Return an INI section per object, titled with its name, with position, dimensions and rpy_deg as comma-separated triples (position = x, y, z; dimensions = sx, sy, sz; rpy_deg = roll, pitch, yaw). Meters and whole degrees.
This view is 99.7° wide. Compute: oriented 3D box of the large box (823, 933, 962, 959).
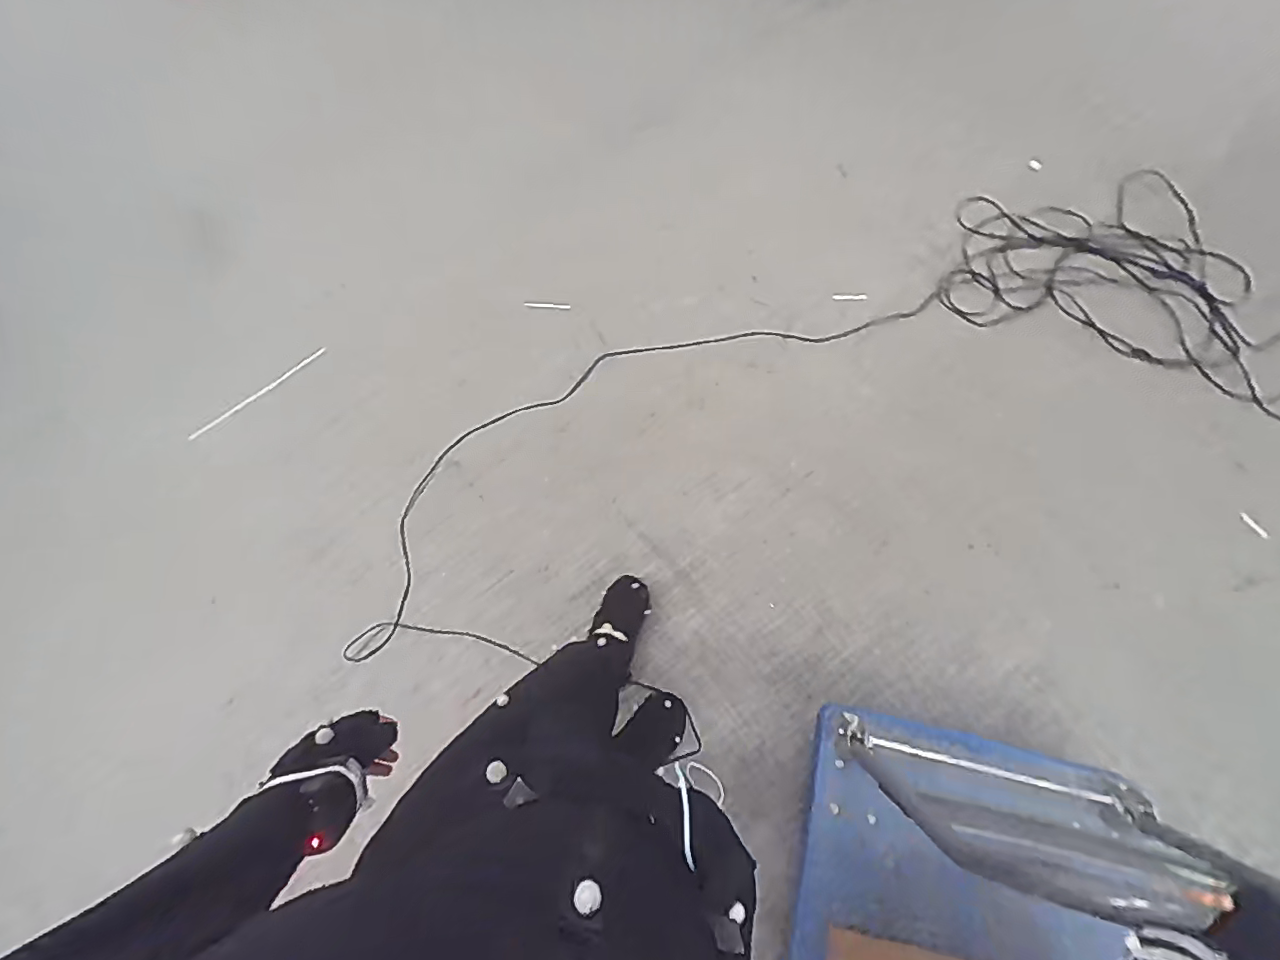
[large box]
position = 0.493, 0.933, 0.769
dimensions = 0.408, 0.320, 0.320
rpy_deg = 8, 74, 6
